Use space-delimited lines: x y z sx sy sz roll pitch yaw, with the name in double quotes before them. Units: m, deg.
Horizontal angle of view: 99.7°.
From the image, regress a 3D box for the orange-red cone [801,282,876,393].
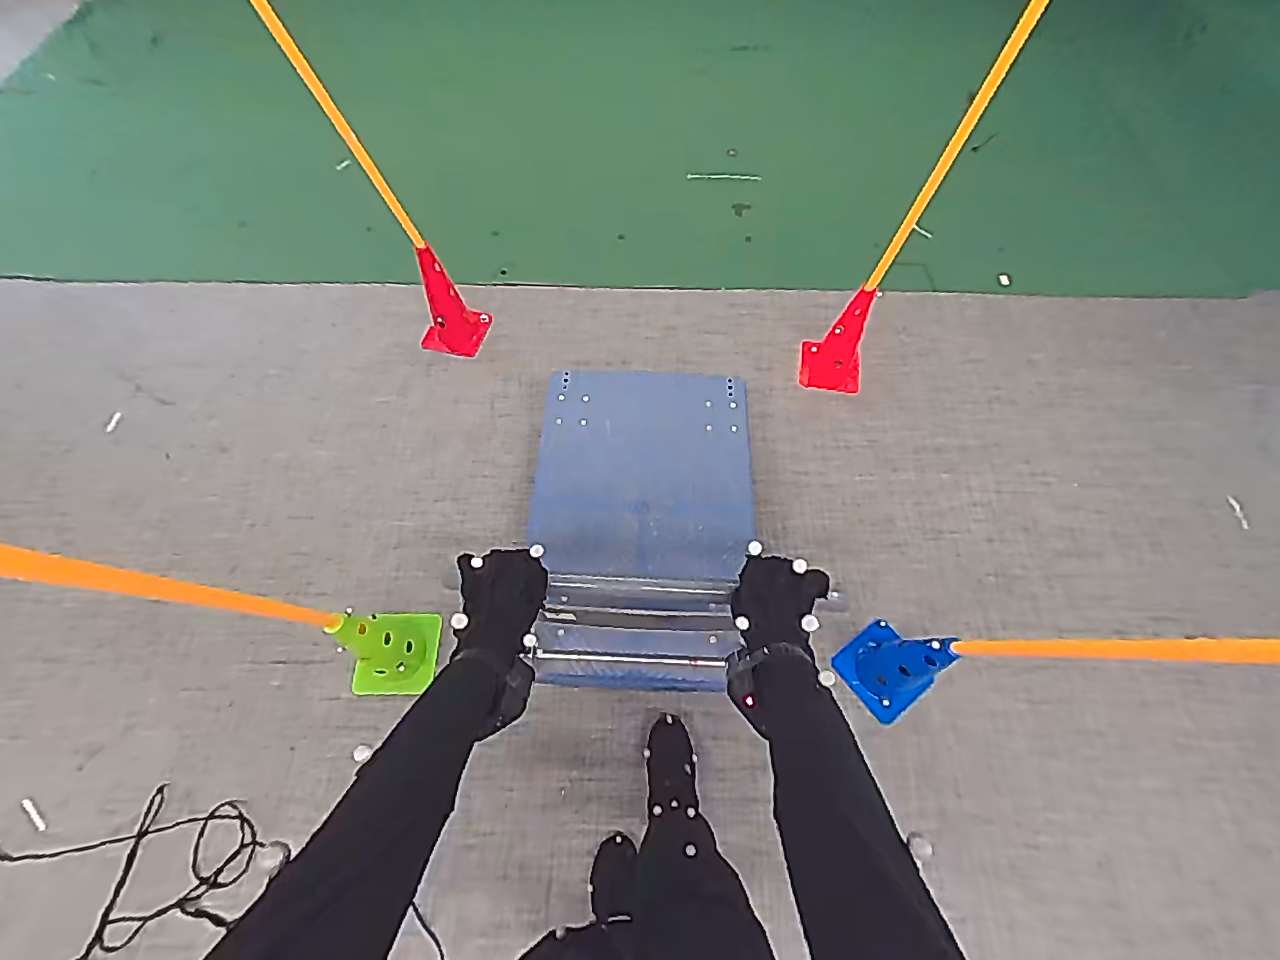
"orange-red cone" 0.645 -0.460 1.671 0.198 0.360 0.199 10 64 6
